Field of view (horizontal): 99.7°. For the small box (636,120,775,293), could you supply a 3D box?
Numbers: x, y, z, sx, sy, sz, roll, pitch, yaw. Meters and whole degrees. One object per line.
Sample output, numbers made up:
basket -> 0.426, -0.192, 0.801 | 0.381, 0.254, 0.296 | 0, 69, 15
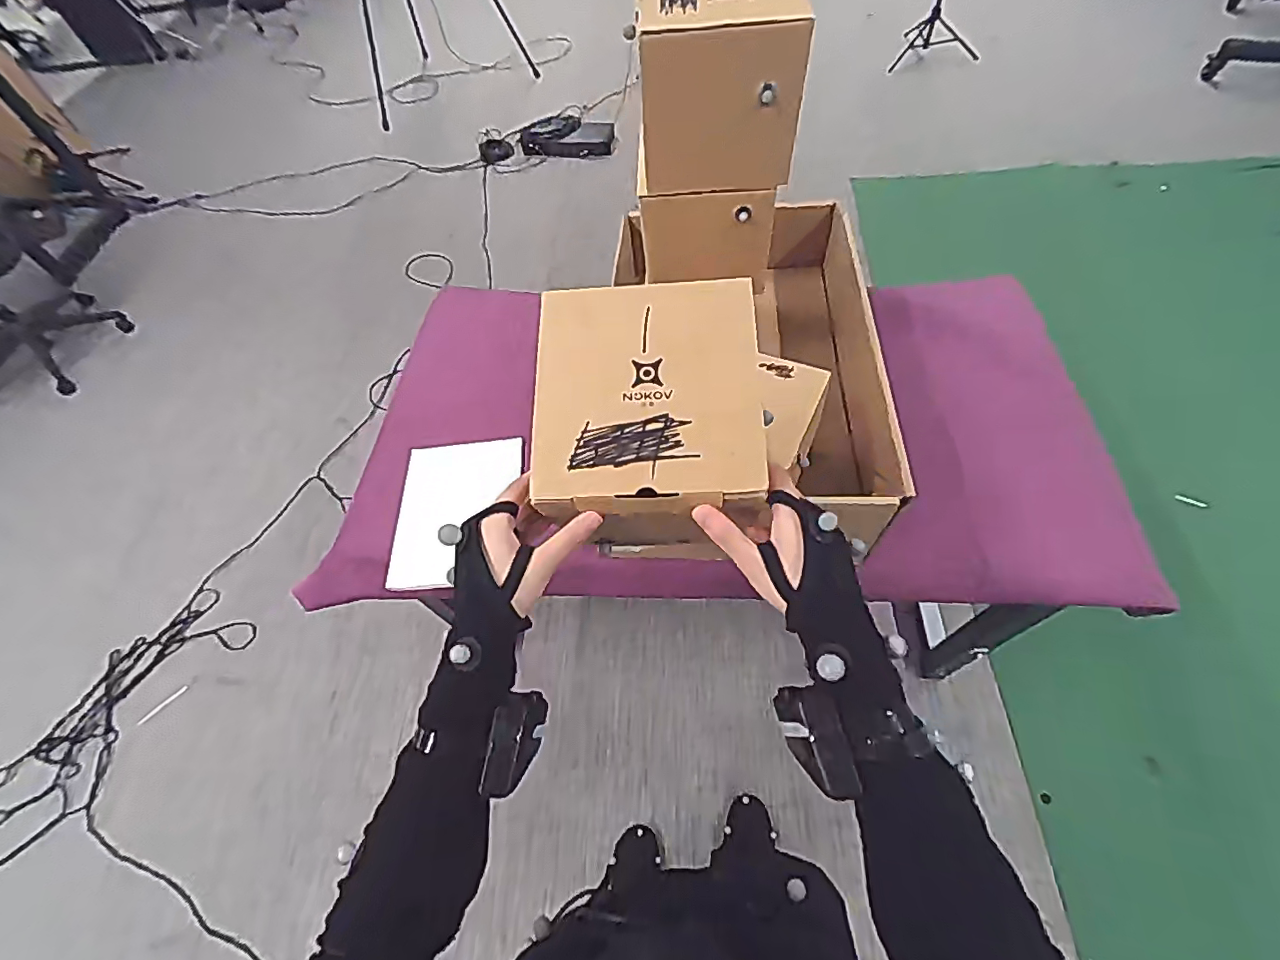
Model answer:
small box -> 0.091, -0.381, 0.779 | 0.179, 0.176, 0.168 | -2, 59, 5

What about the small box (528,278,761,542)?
small box -> 0.012, -0.044, 0.469 | 0.168, 0.176, 0.179 | -2, 71, 6
